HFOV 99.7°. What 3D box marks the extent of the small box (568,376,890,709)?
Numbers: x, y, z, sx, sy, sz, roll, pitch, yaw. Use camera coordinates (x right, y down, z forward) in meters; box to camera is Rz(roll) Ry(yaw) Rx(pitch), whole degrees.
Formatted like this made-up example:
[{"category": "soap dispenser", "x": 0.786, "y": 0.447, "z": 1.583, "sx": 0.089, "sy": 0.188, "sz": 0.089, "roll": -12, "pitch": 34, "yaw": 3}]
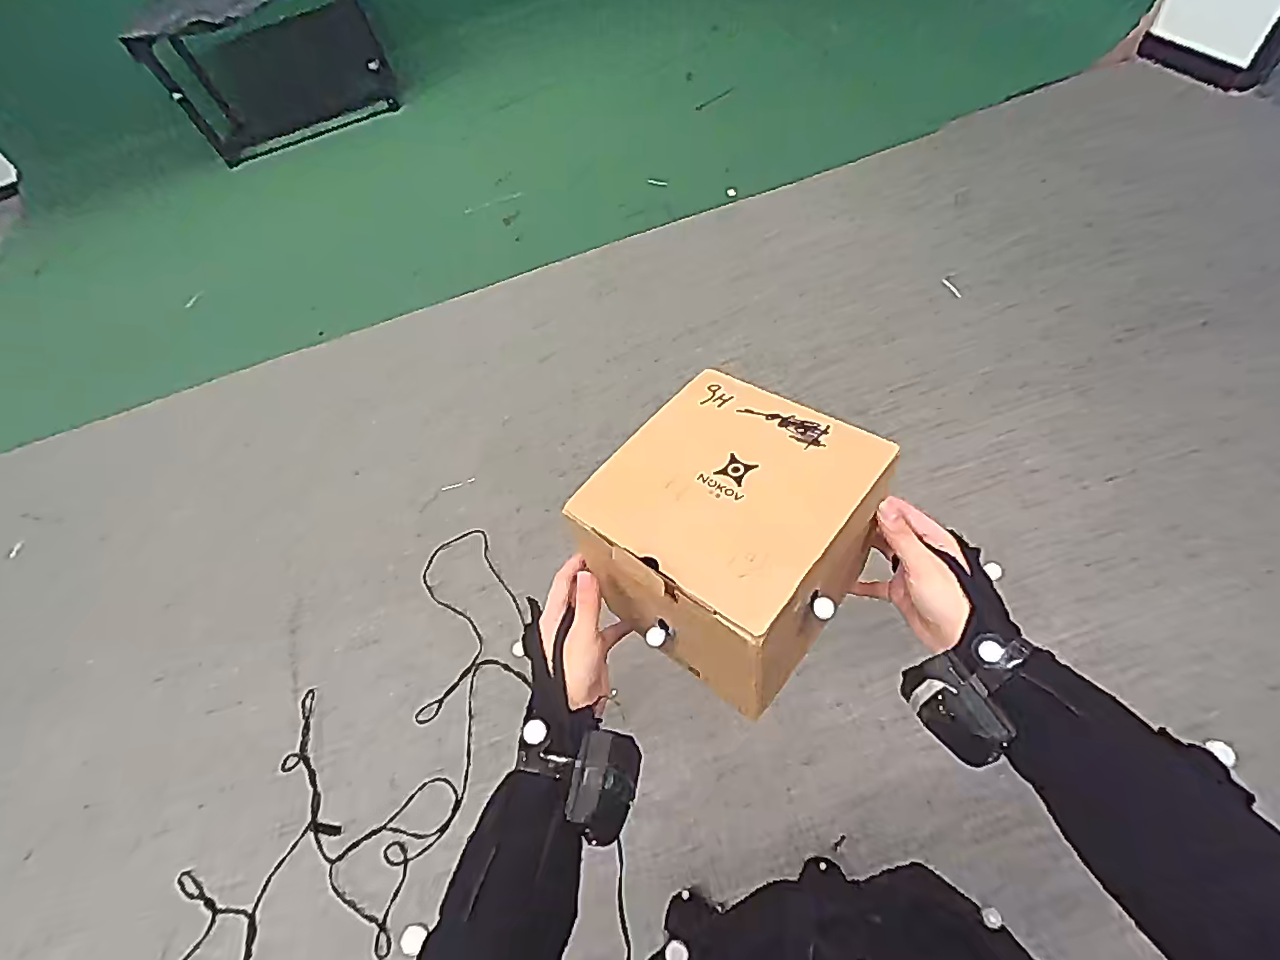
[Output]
[{"category": "small box", "x": 0.075, "y": 0.053, "z": 0.443, "sx": 0.168, "sy": 0.176, "sz": 0.179, "roll": 30, "pitch": 64, "yaw": 31}]
